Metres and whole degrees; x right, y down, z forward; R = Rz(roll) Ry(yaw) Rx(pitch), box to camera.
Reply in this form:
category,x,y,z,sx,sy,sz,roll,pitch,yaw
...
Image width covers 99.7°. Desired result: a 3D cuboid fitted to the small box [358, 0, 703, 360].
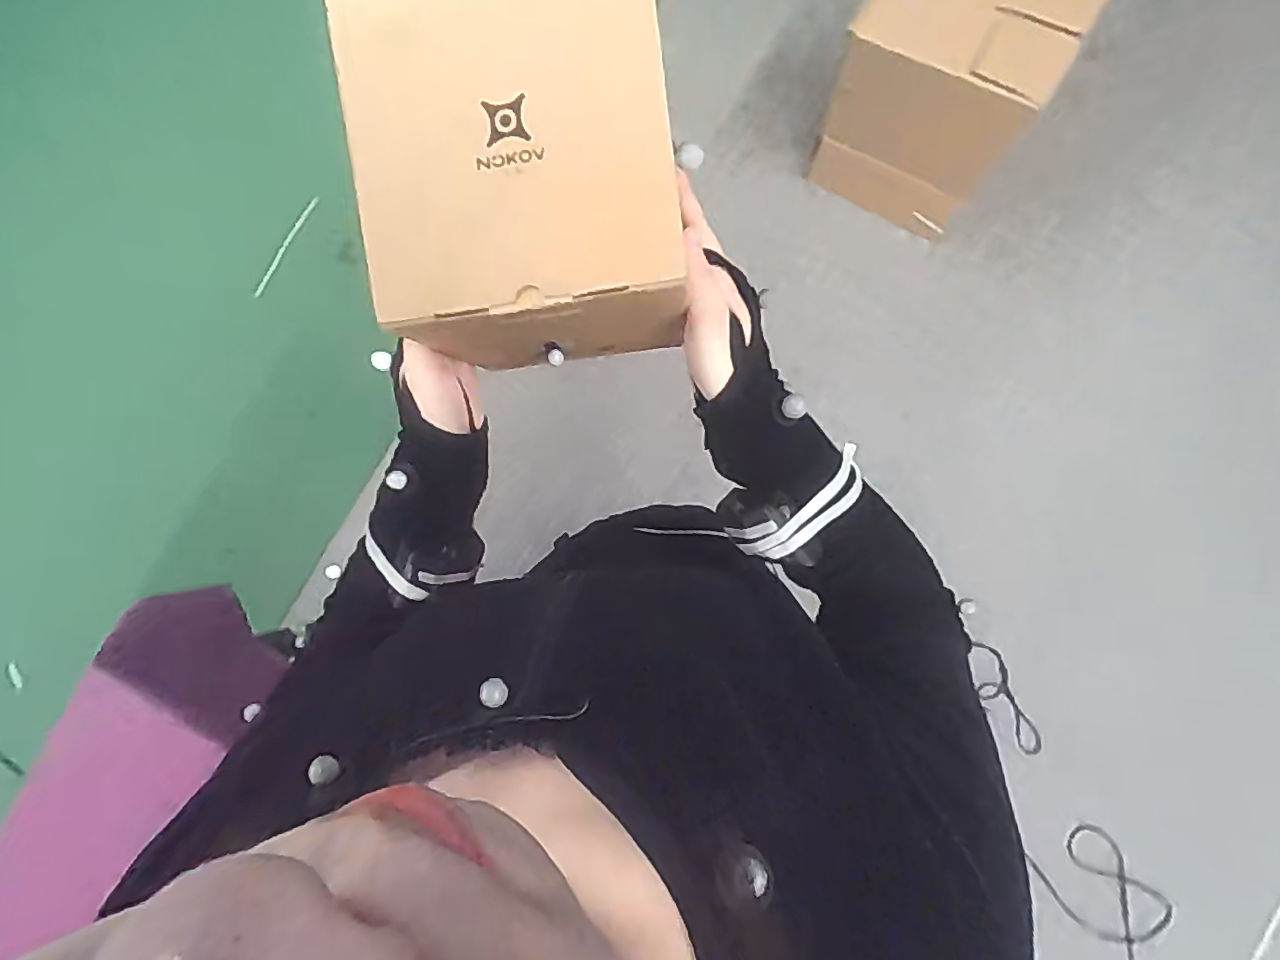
category,x,y,z,sx,sy,sz,roll,pitch,yaw
small box,-0.052,-0.184,0.355,0.168,0.176,0.179,-5,96,4
